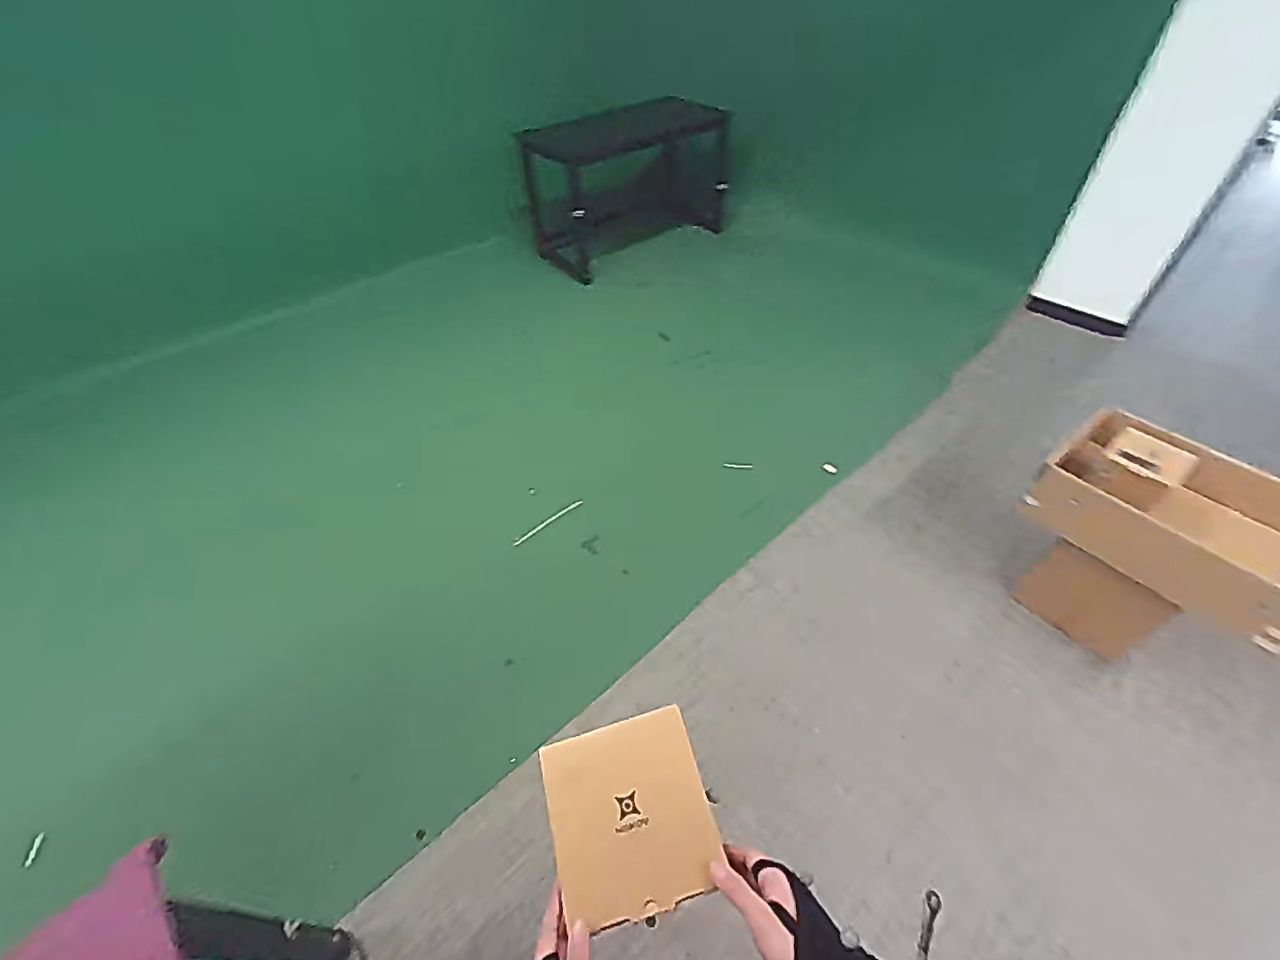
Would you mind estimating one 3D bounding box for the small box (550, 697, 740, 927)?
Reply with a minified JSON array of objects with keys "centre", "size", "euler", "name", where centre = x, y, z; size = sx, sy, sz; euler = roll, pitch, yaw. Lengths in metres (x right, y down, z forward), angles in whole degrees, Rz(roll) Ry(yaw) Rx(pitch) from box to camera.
[{"centre":[0.002,0.379,0.624],"size":[0.168,0.176,0.179],"euler":[-15,55,-5],"name":"small box"}]
